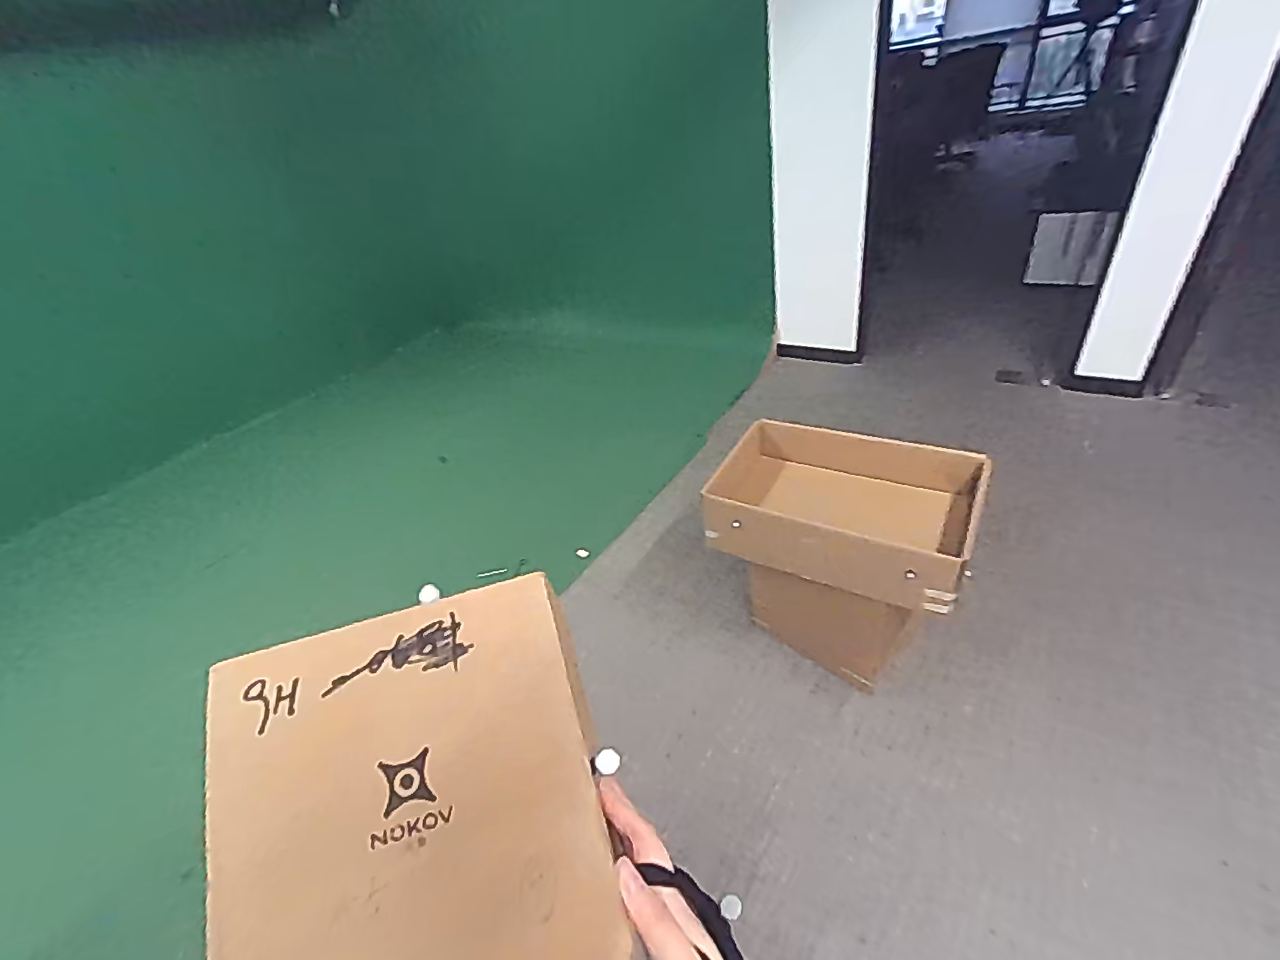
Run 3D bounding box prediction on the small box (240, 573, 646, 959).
[{"bbox_3d":[-0.099,0.174,0.323,0.168,0.176,0.179,-14,69,-9],"label":"small box"}]
